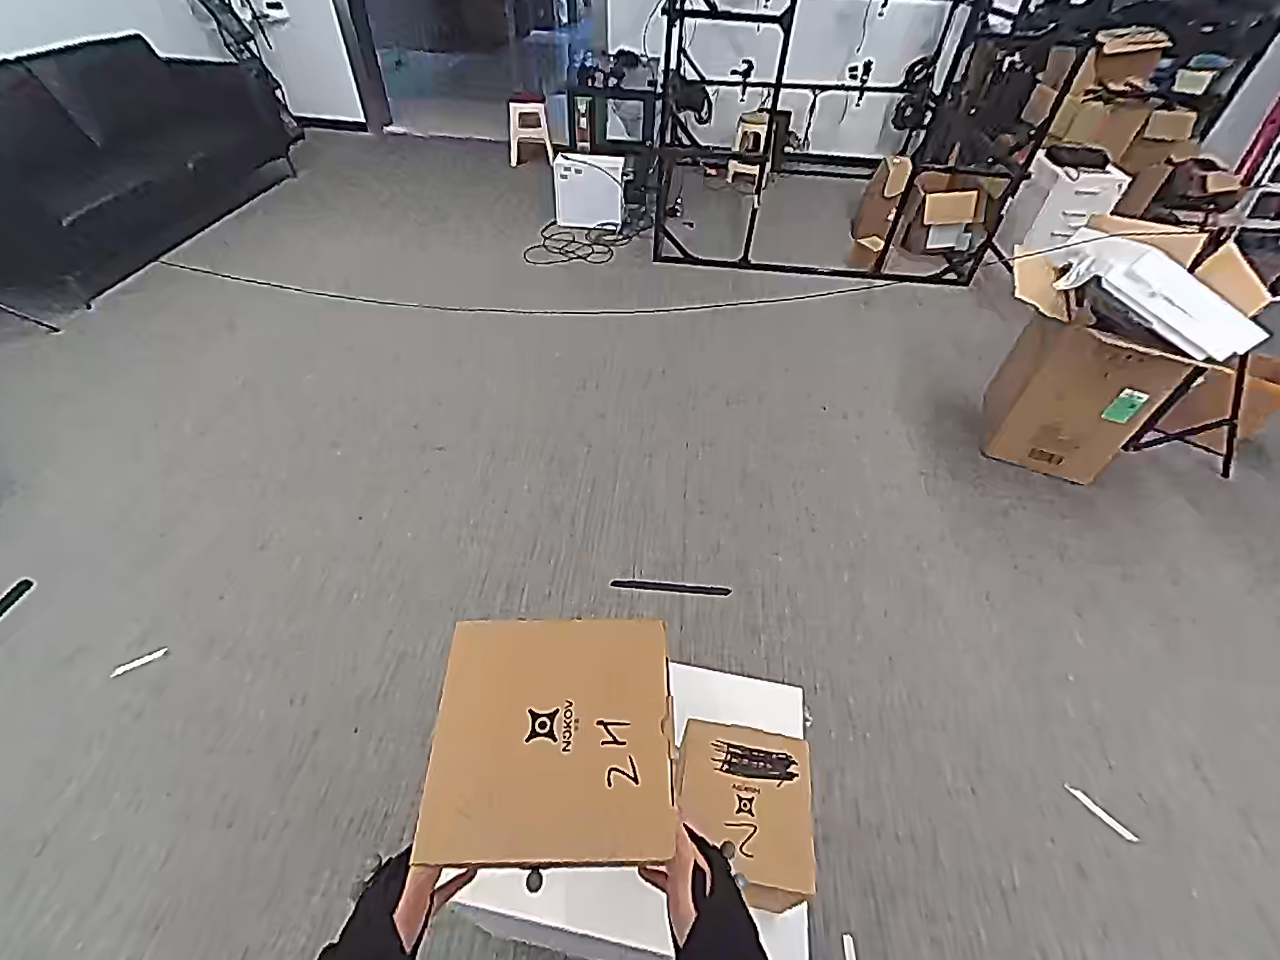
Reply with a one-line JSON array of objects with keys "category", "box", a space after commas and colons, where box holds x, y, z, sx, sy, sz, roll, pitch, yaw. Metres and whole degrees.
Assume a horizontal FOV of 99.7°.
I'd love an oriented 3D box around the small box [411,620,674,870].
[{"category": "small box", "box": [-0.064, 0.231, 0.462, 0.179, 0.176, 0.168, 1, 54, -1]}]
